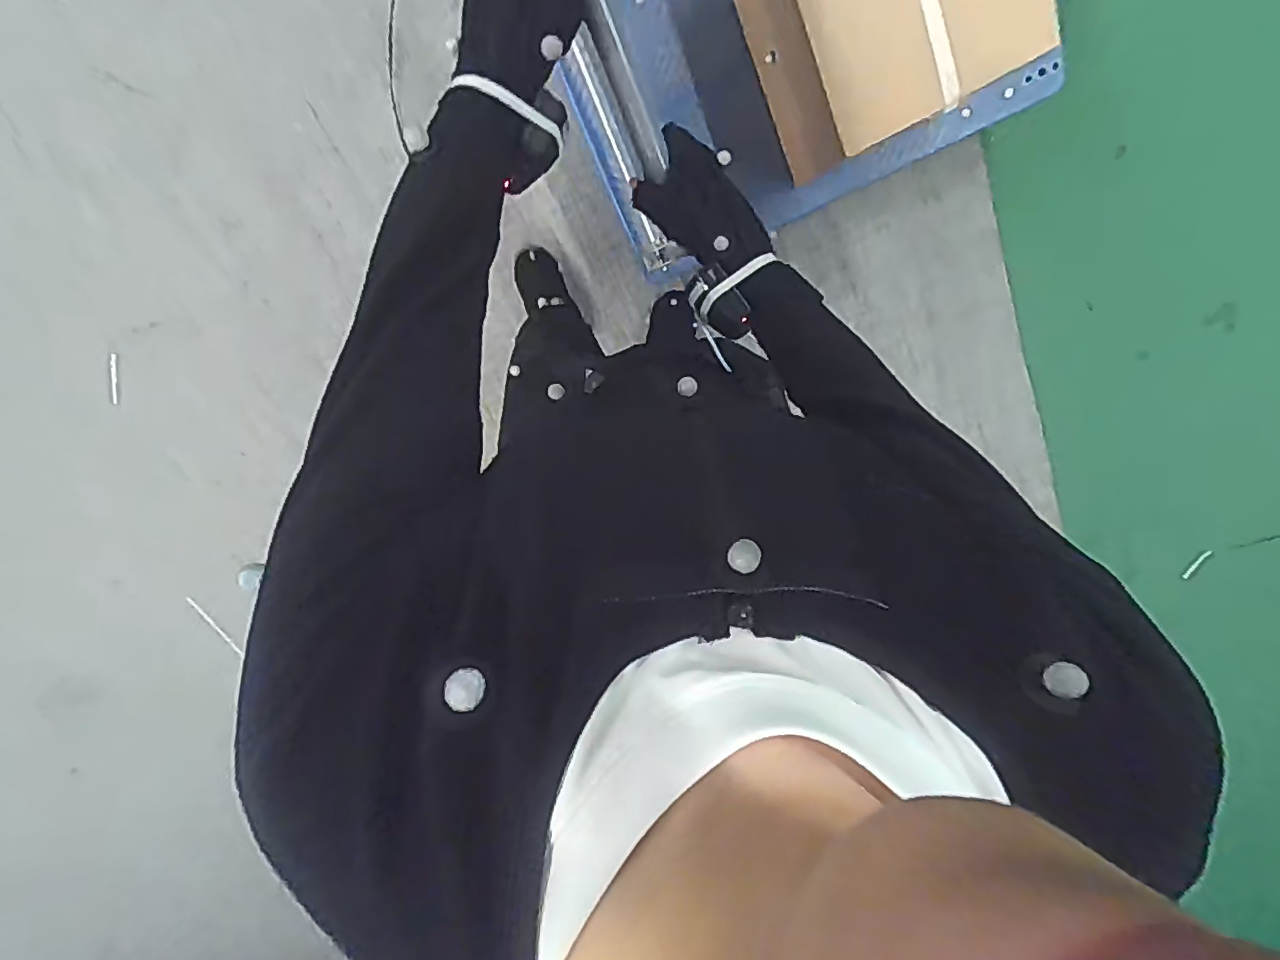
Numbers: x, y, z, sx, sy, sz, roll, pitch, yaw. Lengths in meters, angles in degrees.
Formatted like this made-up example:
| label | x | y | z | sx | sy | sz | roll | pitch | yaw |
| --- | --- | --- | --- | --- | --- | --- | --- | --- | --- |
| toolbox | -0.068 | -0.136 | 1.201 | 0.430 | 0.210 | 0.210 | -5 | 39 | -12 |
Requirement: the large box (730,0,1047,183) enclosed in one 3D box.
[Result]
| label | x | y | z | sx | sy | sz | roll | pitch | yaw |
| --- | --- | --- | --- | --- | --- | --- | --- | --- | --- |
| large box | 0.356 | -0.769 | 0.867 | 0.320 | 0.320 | 0.408 | -24 | 108 | 10 |
